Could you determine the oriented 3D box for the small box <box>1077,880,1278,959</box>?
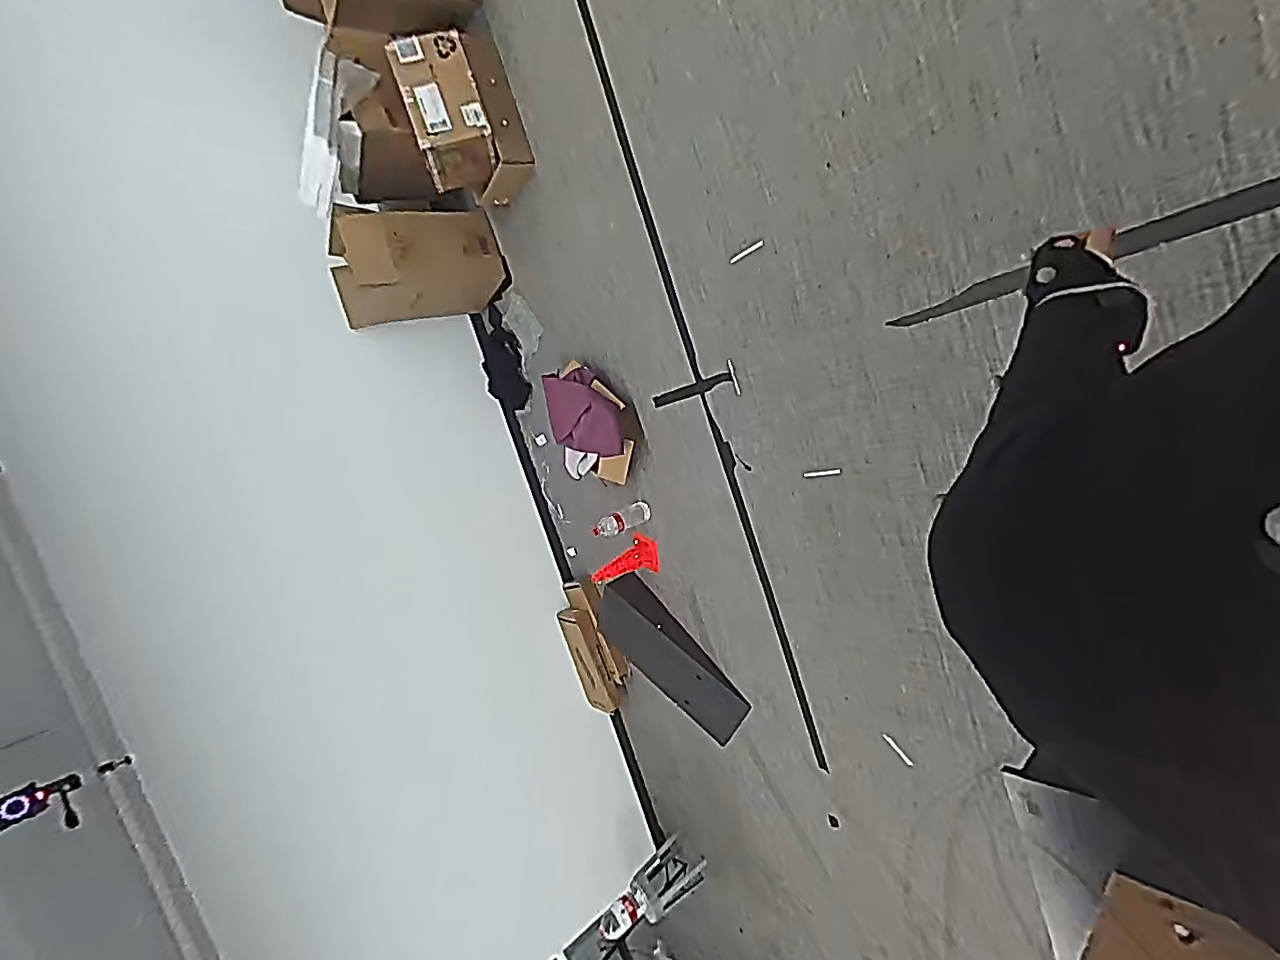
[{"bbox_3d":[0.696,0.678,0.689,0.168,0.176,0.179,-8,102,55],"label":"small box"}]
